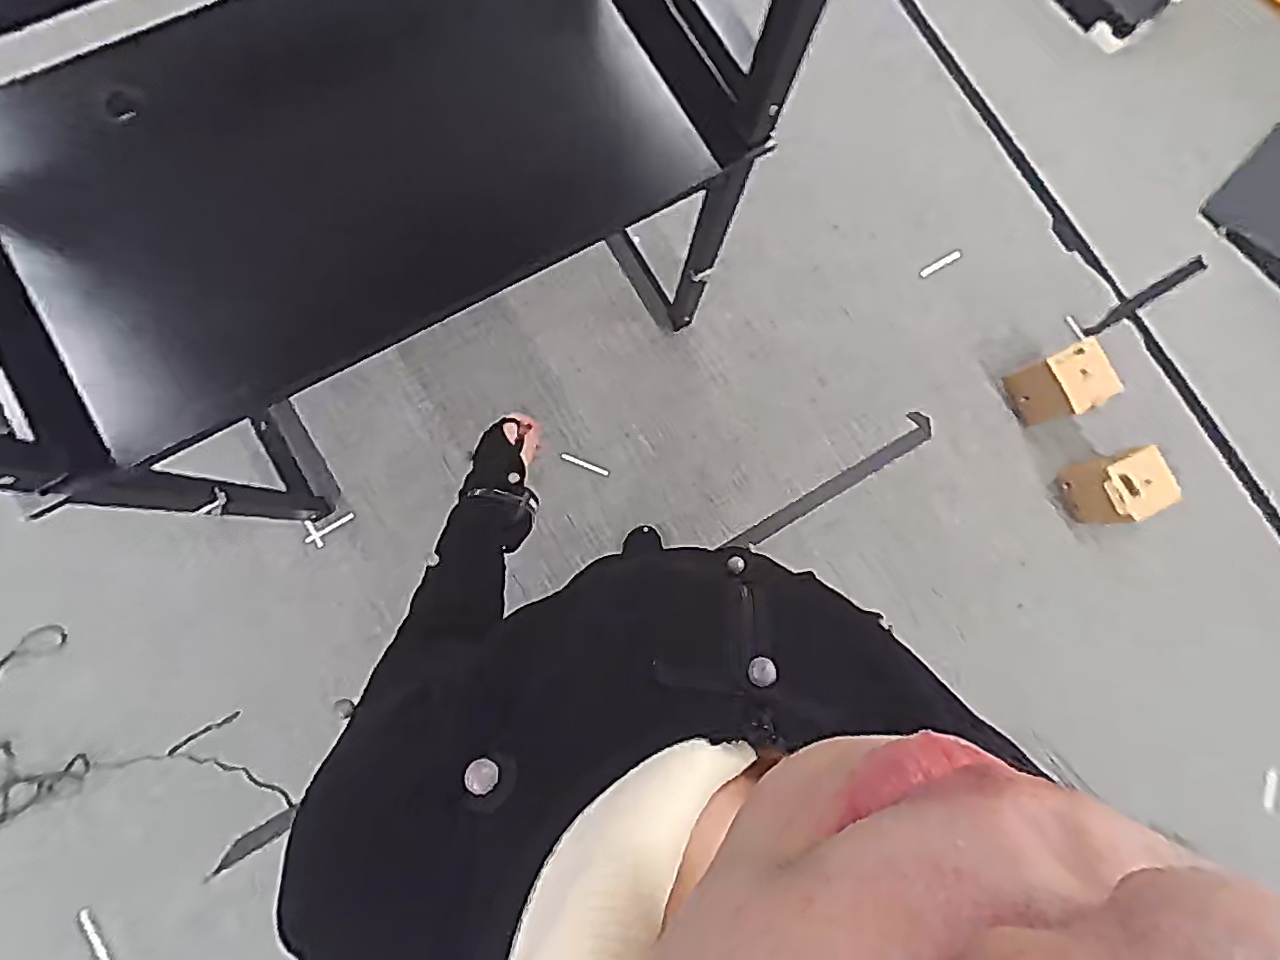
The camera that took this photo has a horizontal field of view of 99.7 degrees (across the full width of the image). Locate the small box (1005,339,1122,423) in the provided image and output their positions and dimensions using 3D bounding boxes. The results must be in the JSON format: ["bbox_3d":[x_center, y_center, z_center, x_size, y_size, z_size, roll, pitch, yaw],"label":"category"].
[{"bbox_3d":[1.221,-0.278,1.571,0.168,0.176,0.179,-25,87,-7],"label":"small box"}]

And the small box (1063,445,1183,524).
[{"bbox_3d":[1.366,0.020,1.549,0.179,0.176,0.168,-24,86,-8],"label":"small box"}]
